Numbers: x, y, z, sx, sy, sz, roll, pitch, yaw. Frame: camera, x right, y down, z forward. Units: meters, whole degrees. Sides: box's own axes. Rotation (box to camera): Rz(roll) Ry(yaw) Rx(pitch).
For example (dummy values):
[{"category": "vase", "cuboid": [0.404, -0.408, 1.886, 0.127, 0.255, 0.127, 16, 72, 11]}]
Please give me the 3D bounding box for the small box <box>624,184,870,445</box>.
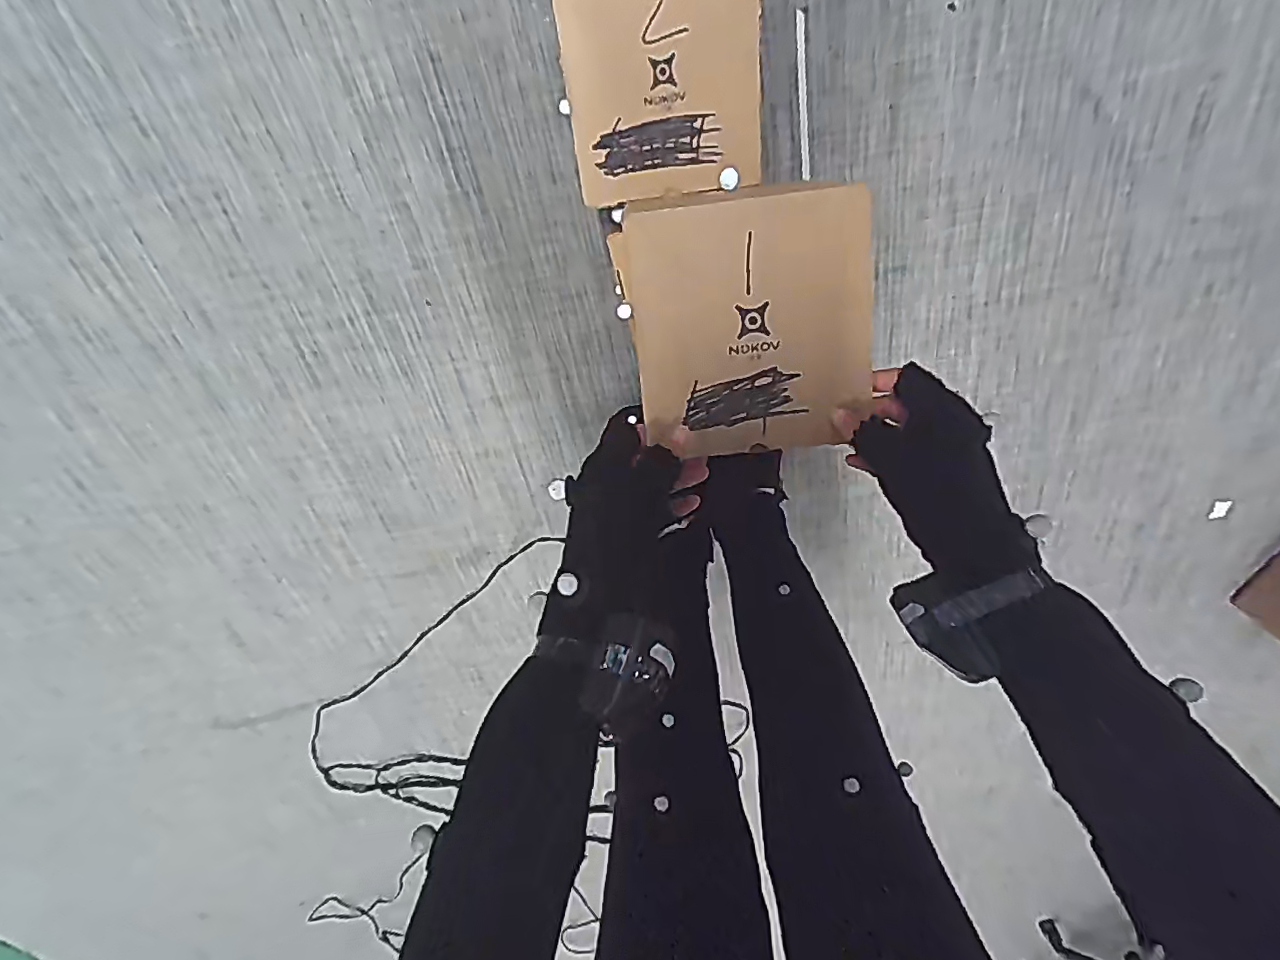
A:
[{"category": "small box", "cuboid": [0.079, -0.149, 0.468, 0.168, 0.176, 0.179, -5, 118, 3]}]
